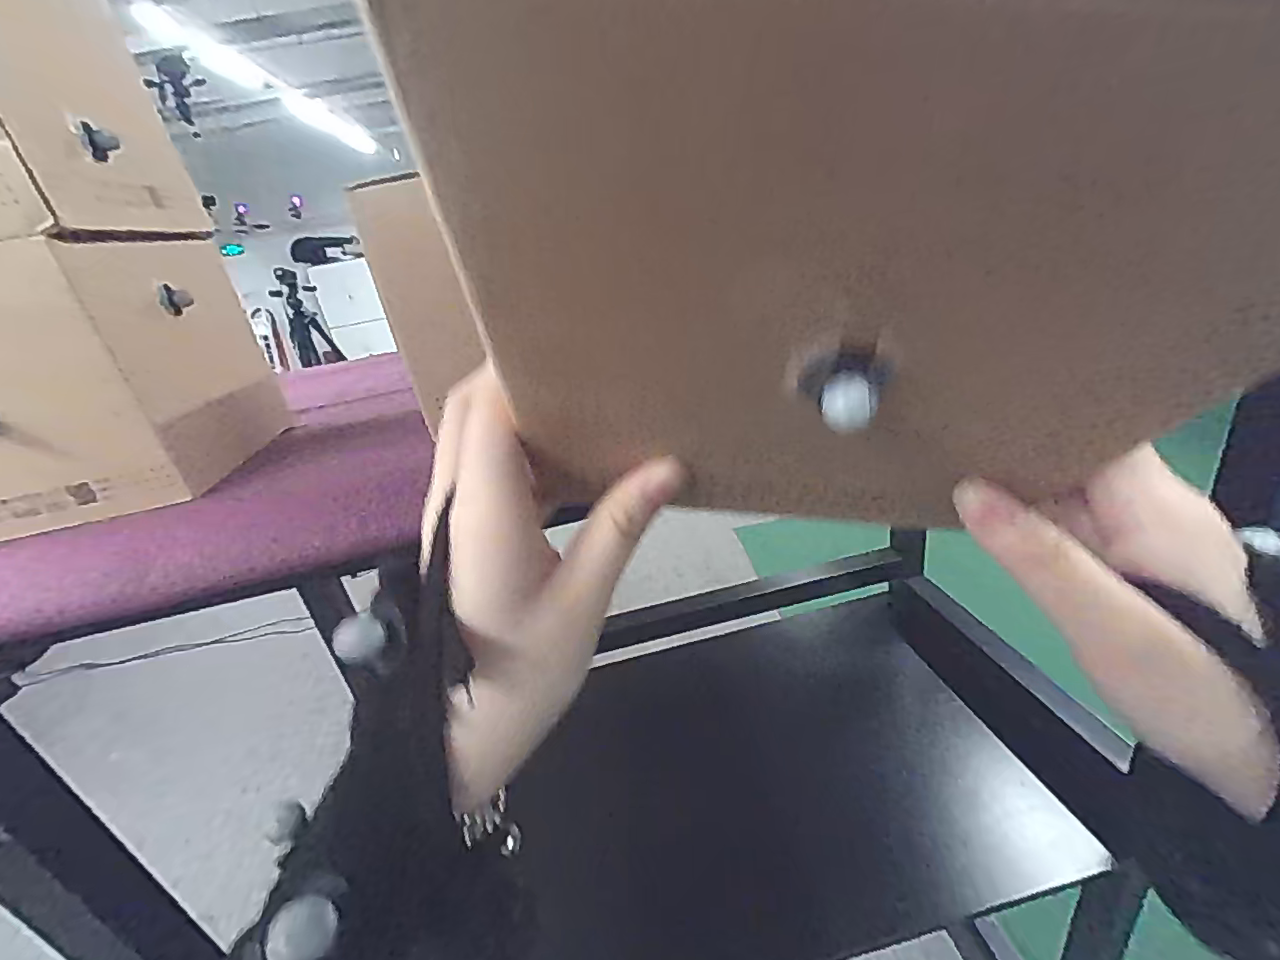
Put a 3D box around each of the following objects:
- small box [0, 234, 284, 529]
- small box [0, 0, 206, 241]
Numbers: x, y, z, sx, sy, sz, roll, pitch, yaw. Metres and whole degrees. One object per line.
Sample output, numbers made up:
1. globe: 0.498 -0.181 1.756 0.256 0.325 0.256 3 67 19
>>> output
1. small box: -0.404 -0.075 0.396 0.168 0.176 0.179 -12 25 -6
2. small box: -0.428 -0.220 0.326 0.179 0.176 0.168 -13 26 -7
